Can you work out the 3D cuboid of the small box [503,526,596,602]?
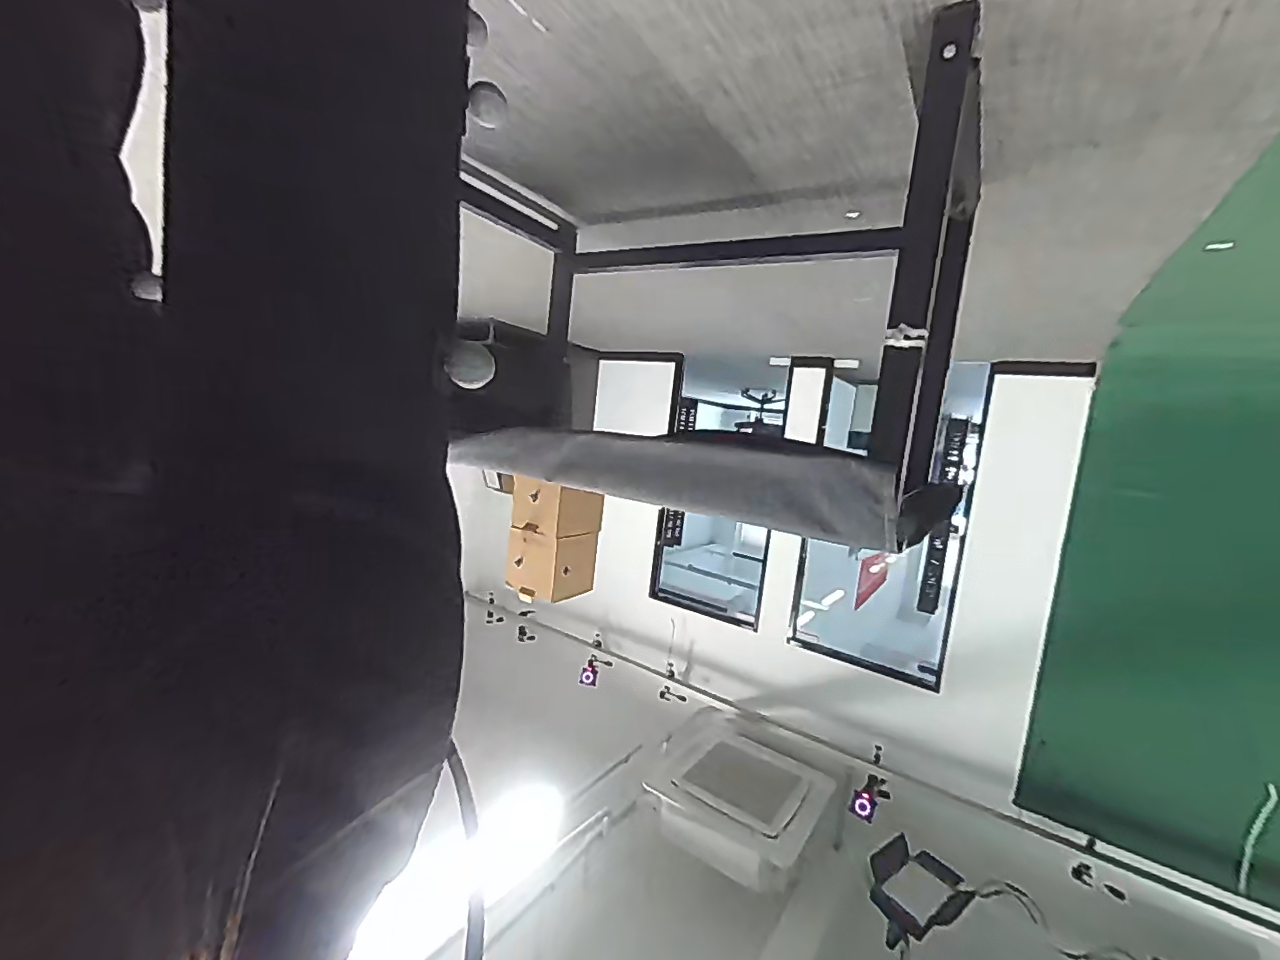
[{"bbox_3d":[-0.235,0.202,1.420,0.168,0.176,0.179,11,-172,31],"label":"small box"}]

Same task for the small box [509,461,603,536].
[{"bbox_3d":[-0.214,0.042,1.400,0.168,0.176,0.179,11,-173,34],"label":"small box"}]
